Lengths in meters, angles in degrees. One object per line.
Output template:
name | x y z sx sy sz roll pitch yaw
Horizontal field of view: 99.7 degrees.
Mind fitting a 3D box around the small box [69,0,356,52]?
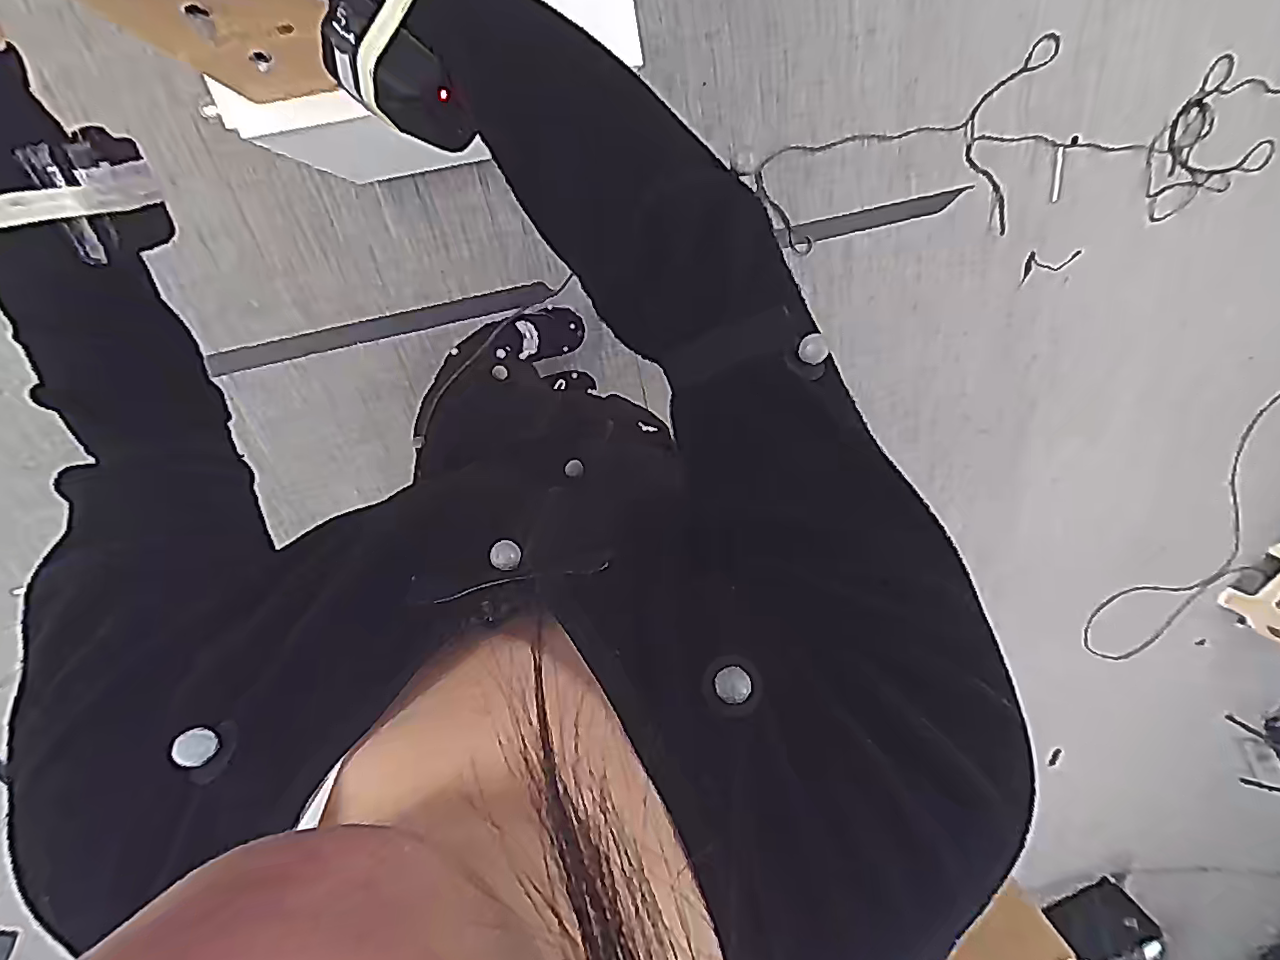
small box | -0.337 -0.444 0.391 0.168 0.176 0.179 -16 115 -6

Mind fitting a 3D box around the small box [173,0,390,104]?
small box | -0.373 -0.508 0.537 0.168 0.176 0.179 -15 114 -7
